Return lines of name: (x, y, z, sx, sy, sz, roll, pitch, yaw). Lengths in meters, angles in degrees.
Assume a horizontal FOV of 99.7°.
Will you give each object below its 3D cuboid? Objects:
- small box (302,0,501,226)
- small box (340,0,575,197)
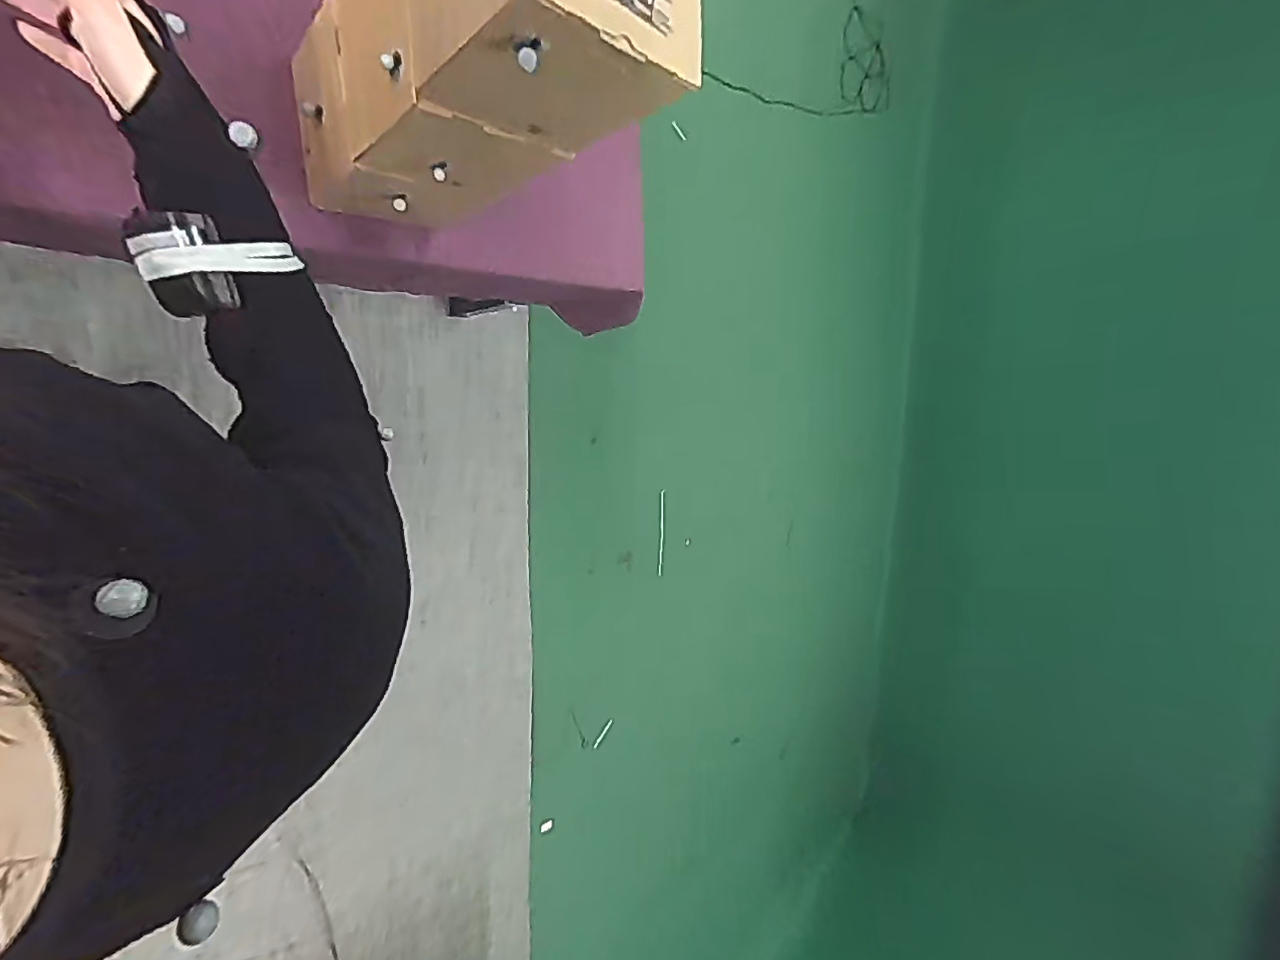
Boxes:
small box: (-0.292, -0.423, 0.658, 0.179, 0.176, 0.168, -12, 105, -42)
small box: (-0.182, -0.411, 0.539, 0.168, 0.176, 0.179, -10, 104, -43)
